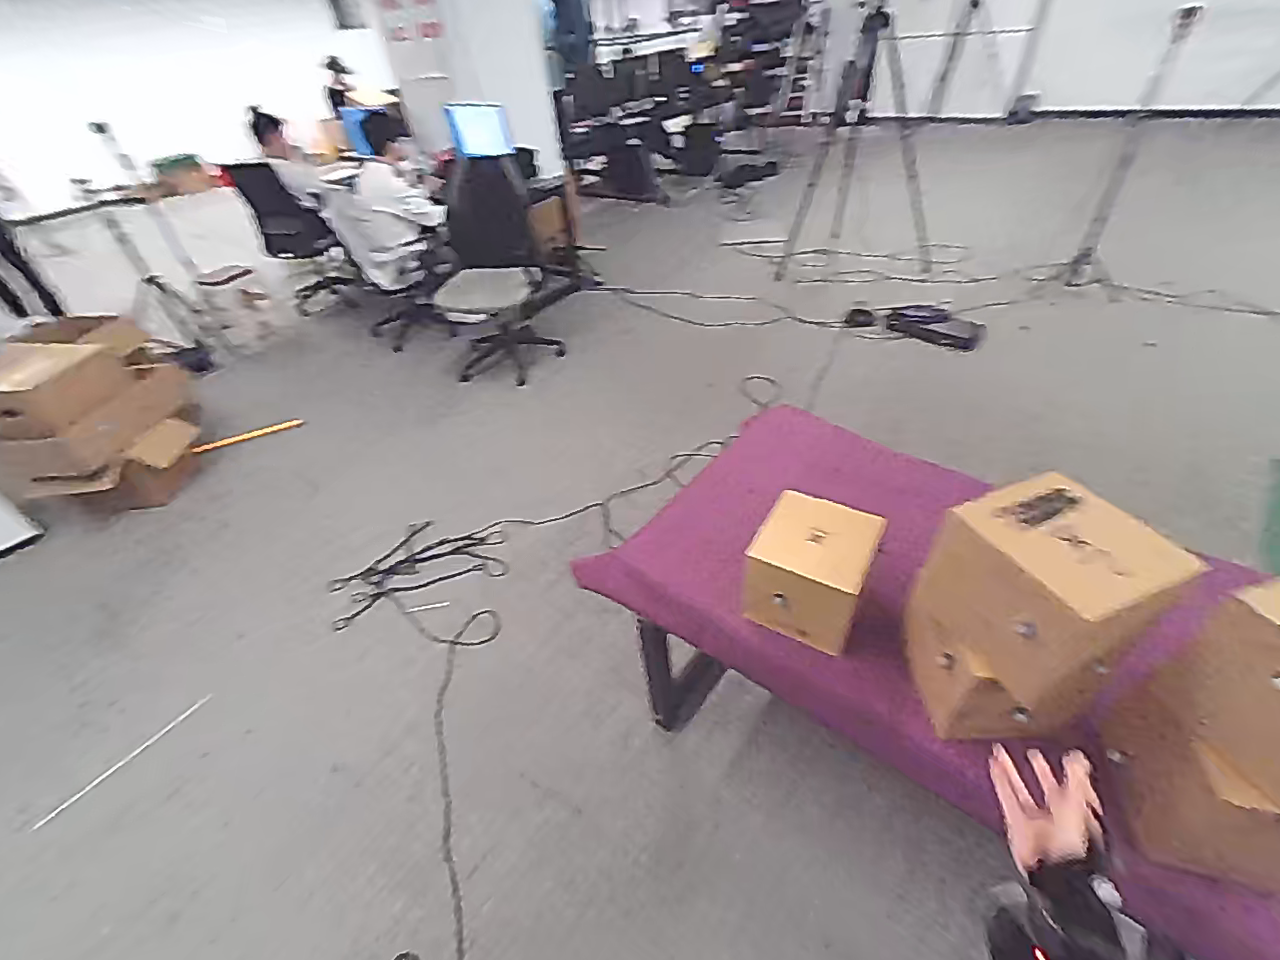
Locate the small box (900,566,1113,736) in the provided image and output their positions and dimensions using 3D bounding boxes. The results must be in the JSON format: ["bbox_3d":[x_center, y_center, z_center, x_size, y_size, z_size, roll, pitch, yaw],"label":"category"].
[{"bbox_3d":[0.494,0.244,0.763,0.168,0.176,0.179,-3,40,3],"label":"small box"}]

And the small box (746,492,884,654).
[{"bbox_3d":[0.285,0.155,0.899,0.168,0.176,0.179,19,45,27],"label":"small box"}]

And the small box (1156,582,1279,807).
[{"bbox_3d":[0.680,0.211,0.525,0.168,0.176,0.179,-13,40,-10],"label":"small box"}]
